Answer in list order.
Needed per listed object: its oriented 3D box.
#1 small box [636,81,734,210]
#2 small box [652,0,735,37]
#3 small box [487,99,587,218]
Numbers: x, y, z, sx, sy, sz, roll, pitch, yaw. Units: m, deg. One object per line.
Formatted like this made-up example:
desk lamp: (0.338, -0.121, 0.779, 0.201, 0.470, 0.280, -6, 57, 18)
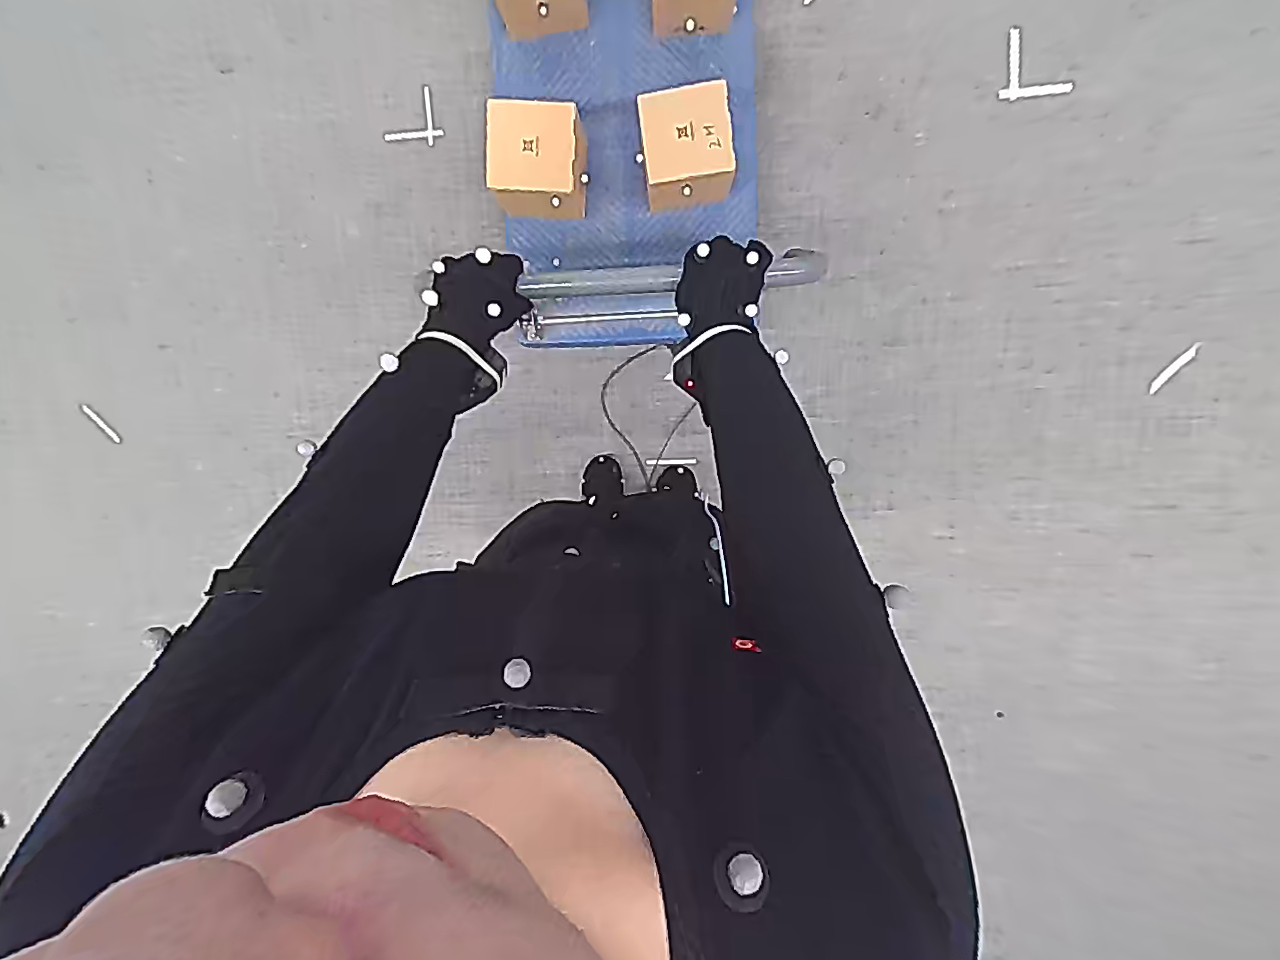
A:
small box: (0.094, -0.688, 1.133, 0.179, 0.176, 0.168, -8, 98, 4)
small box: (0.106, -1.039, 1.082, 0.168, 0.176, 0.179, -2, 99, 3)
small box: (-0.213, -0.672, 1.148, 0.179, 0.176, 0.168, 3, 98, 0)
